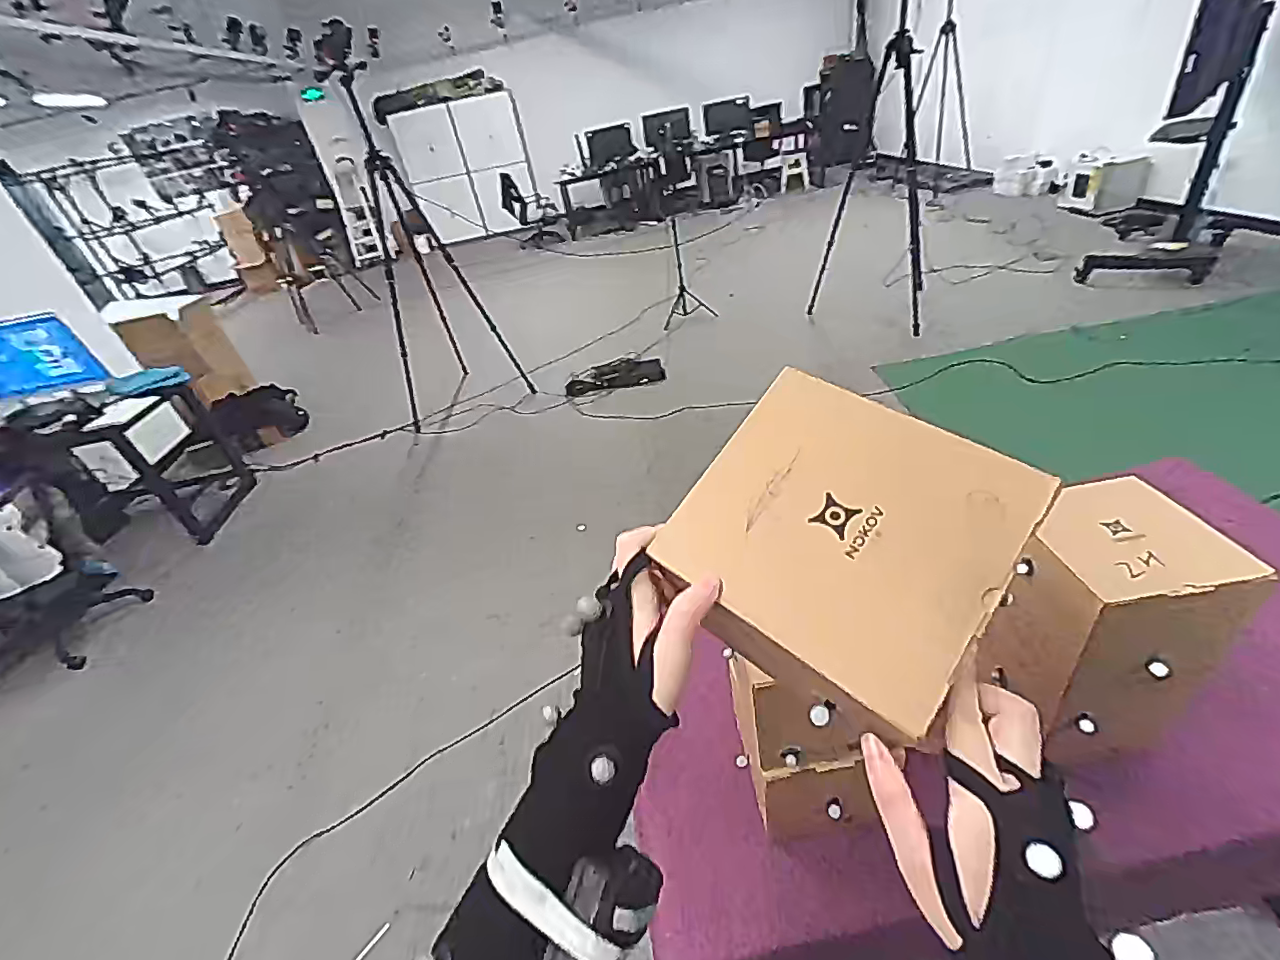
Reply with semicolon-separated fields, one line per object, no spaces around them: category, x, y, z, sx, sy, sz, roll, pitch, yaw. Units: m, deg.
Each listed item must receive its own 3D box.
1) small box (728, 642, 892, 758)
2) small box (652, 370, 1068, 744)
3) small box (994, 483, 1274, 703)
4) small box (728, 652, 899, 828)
small box;0.195;0.202;0.635;0.168;0.176;0.179;-10;35;2
small box;0.139;0.061;0.385;0.179;0.176;0.168;34;74;29
small box;0.537;0.129;0.636;0.168;0.176;0.179;-10;36;3
small box;0.221;0.338;0.725;0.168;0.176;0.179;-10;36;1
